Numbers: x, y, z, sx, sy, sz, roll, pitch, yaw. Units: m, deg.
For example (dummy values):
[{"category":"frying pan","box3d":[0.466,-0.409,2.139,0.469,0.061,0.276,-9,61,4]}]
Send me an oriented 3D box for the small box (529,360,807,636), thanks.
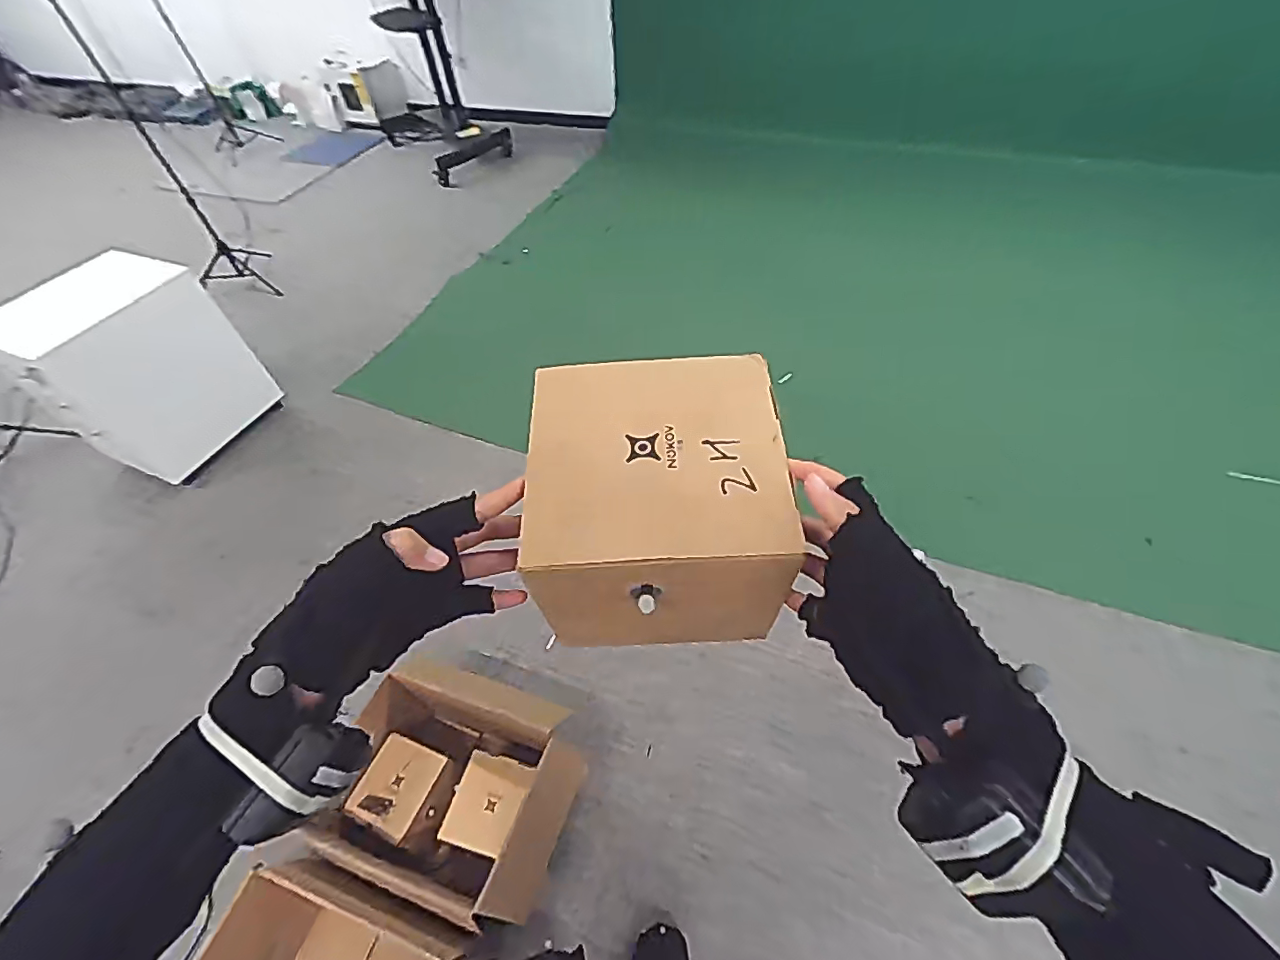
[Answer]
[{"category":"small box","box3d":[0.019,0.023,0.442,0.179,0.176,0.168,-2,58,1]}]
